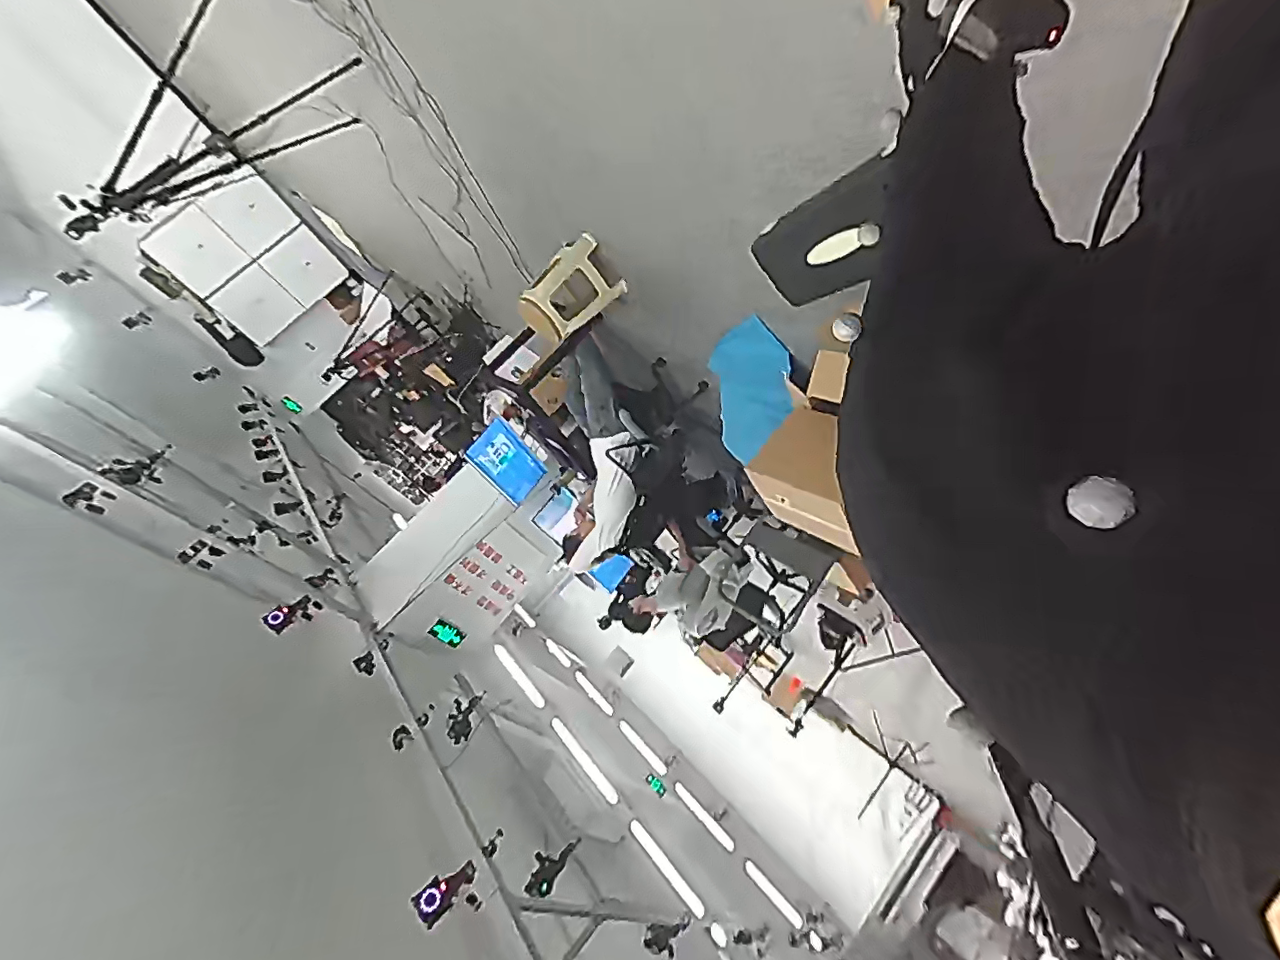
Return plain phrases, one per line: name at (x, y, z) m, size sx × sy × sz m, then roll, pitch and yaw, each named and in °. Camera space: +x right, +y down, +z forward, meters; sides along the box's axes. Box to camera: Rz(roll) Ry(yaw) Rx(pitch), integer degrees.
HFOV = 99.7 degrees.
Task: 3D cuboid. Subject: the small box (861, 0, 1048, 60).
small box at (0.330, -0.534, 0.509) m, size 0.168 × 0.179 × 0.176 m, roll 27°, pitch 123°, yaw 18°
